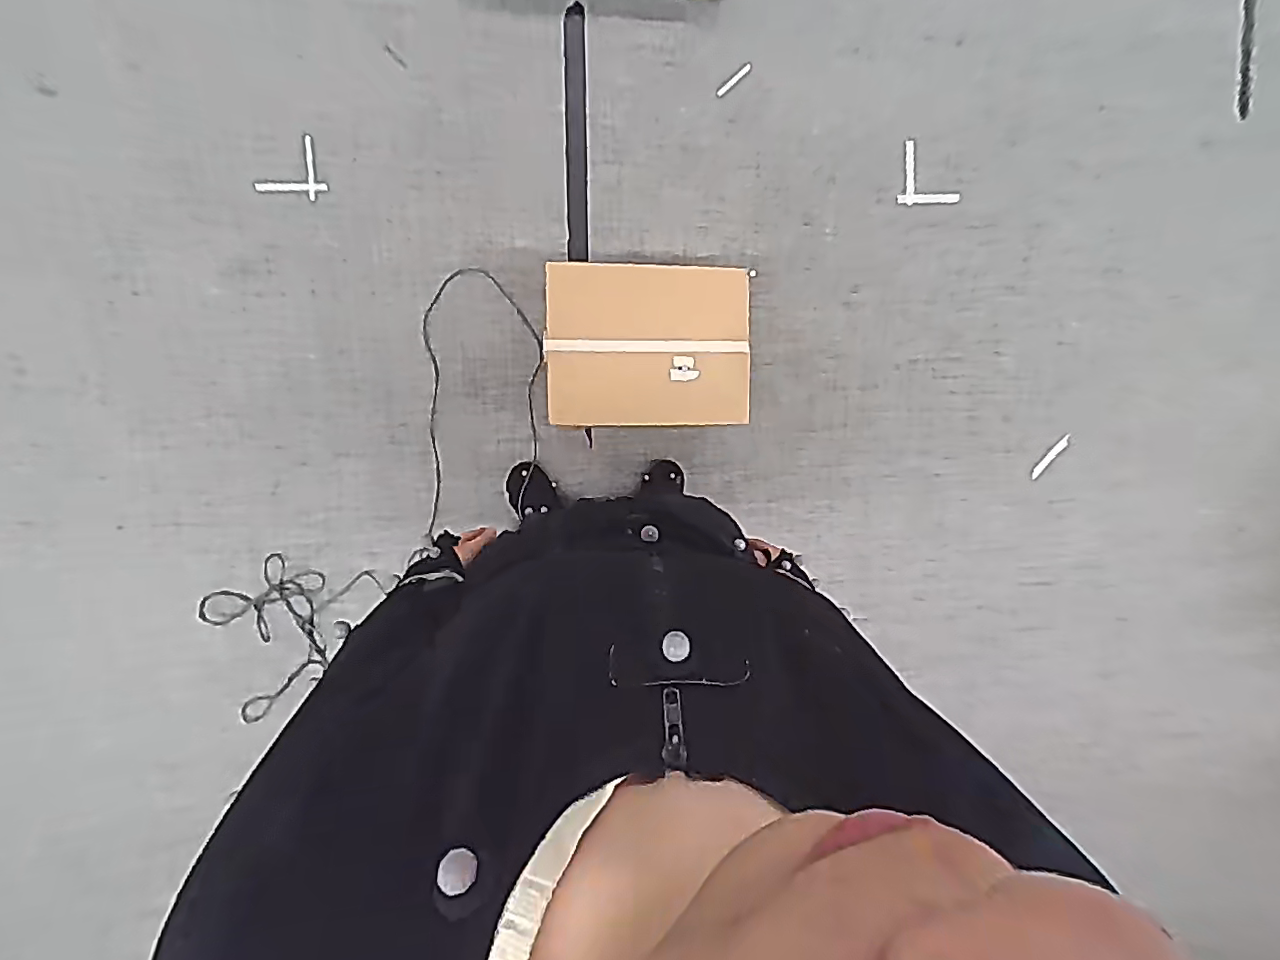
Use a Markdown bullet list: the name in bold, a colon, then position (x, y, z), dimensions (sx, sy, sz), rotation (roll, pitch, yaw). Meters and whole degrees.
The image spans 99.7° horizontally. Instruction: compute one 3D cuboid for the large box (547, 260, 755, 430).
- **large box**: position (0.007, -0.272, 1.189), dimensions (0.408, 0.320, 0.320), rotation (-1, 95, -8)
